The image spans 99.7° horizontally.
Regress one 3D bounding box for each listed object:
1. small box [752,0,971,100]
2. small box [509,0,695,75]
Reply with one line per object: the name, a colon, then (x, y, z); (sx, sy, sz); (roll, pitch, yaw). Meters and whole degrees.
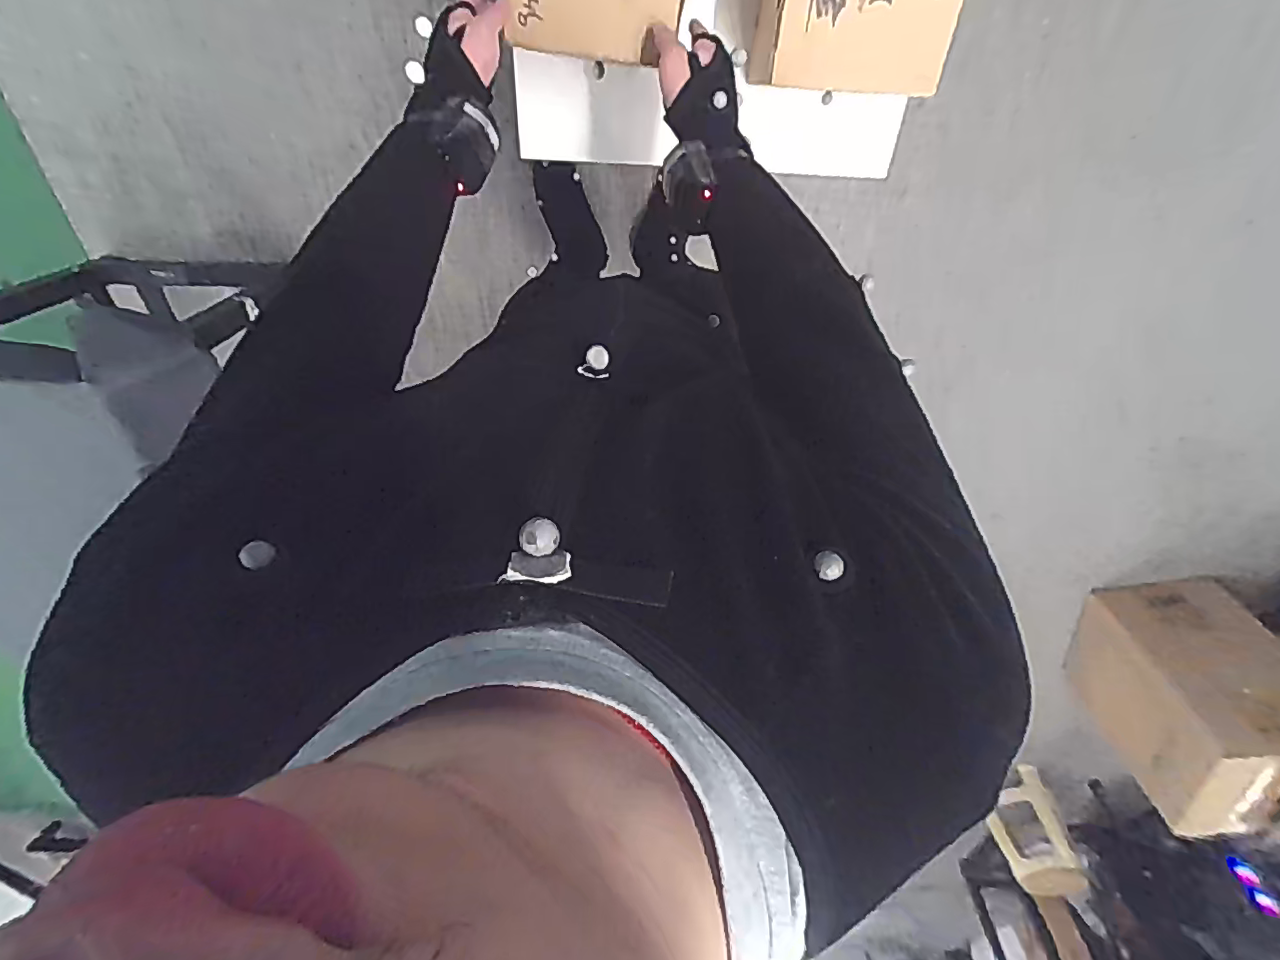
small box: (0.228, -0.509, 0.573); (0.179, 0.176, 0.168); (2, 125, -3)
small box: (-0.035, -0.529, 0.553); (0.179, 0.176, 0.168); (4, 125, -7)
